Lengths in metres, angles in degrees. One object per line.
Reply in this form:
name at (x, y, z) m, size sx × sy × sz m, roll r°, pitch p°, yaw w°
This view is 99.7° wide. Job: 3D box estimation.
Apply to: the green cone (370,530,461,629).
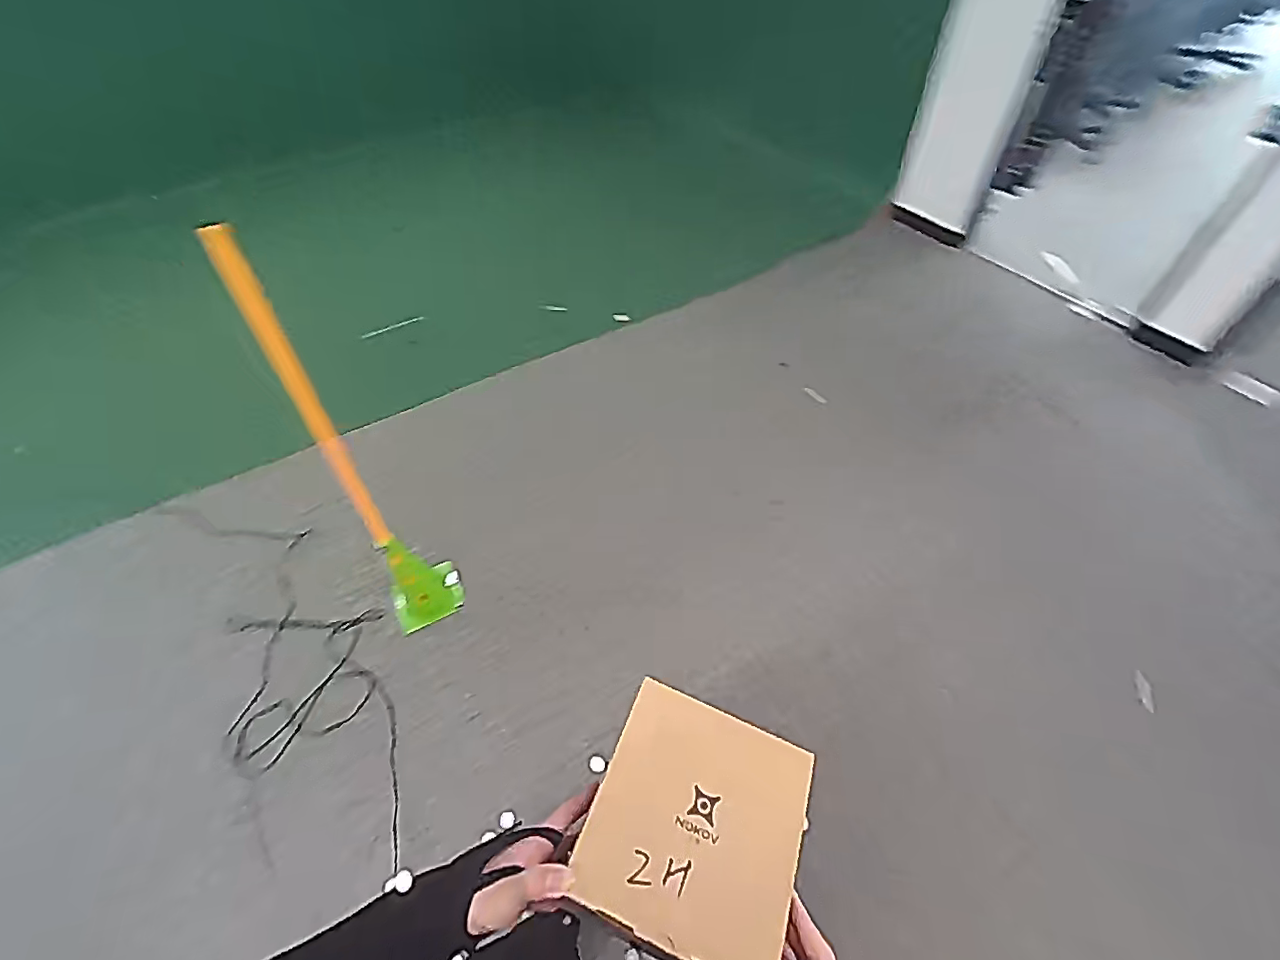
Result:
green cone at (-0.712, 0.260, 1.633) m, size 0.202 × 0.368 × 0.200 m, roll -25°, pitch 53°, yaw -15°
